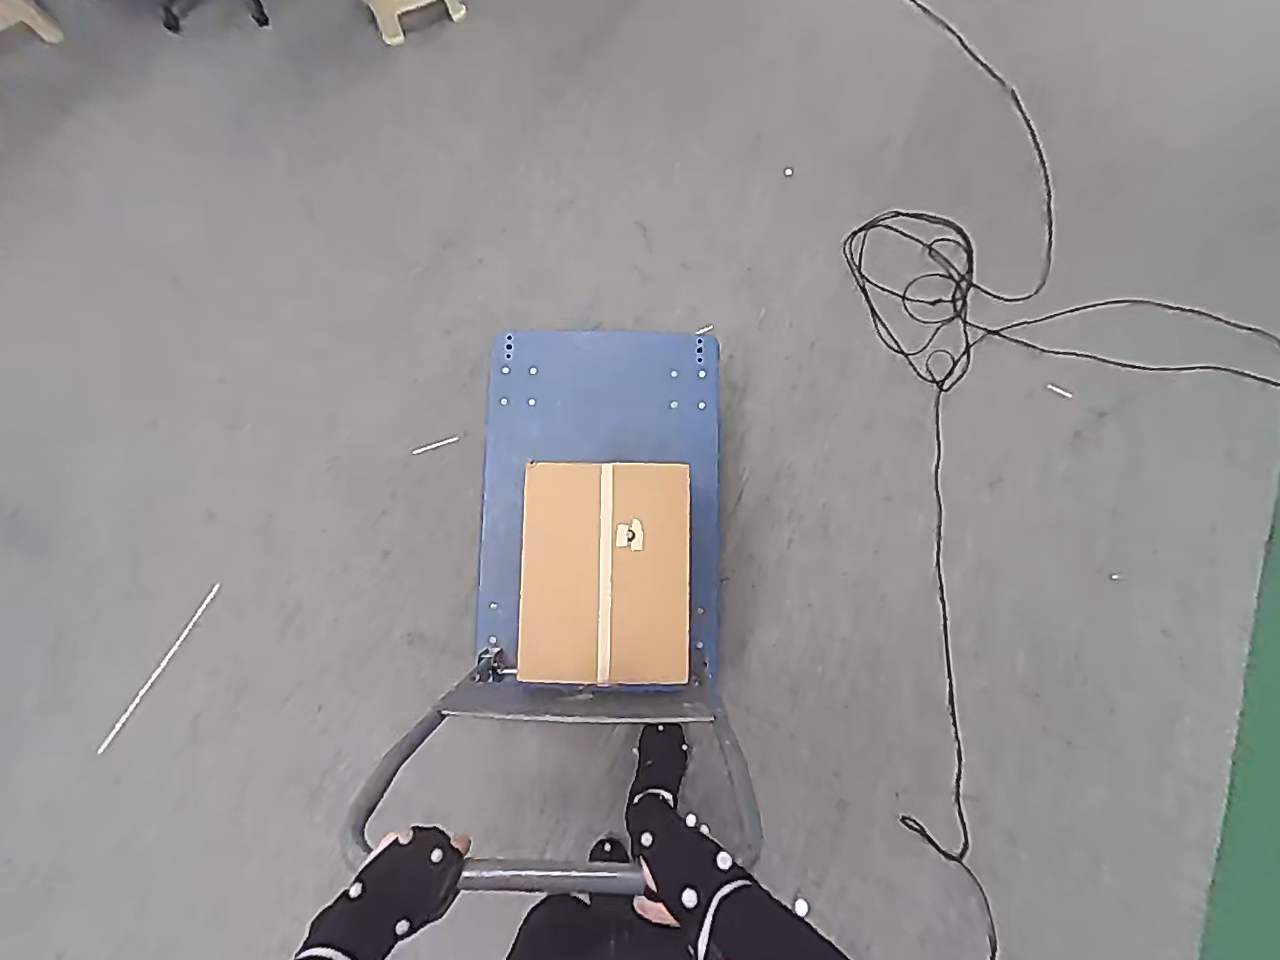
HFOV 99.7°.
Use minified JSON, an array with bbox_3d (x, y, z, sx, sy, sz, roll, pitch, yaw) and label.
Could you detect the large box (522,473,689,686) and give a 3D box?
[{"bbox_3d":[-0.062,0.204,1.168,0.320,0.320,0.408,1,83,0],"label":"large box"}]
